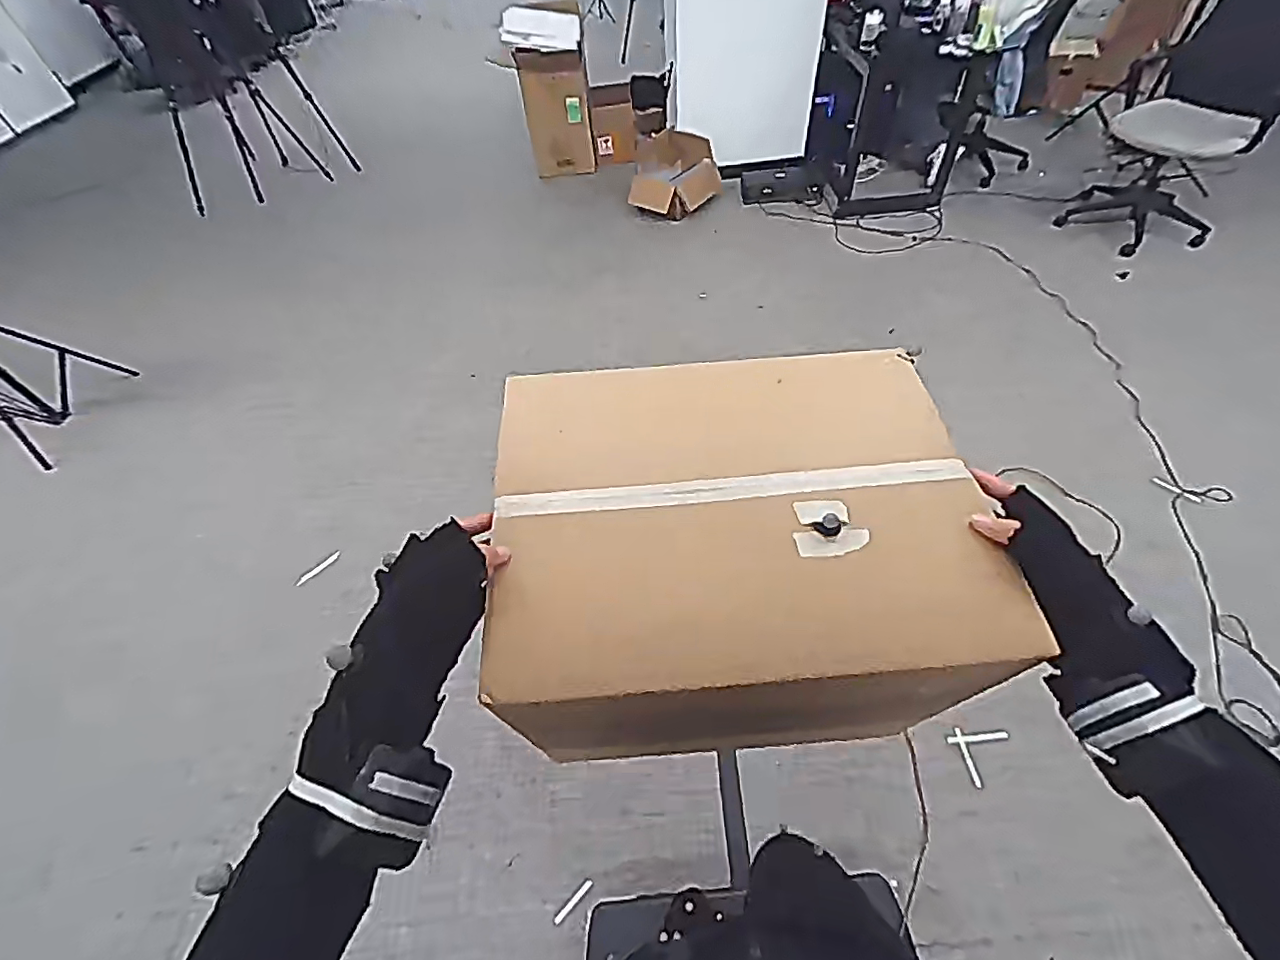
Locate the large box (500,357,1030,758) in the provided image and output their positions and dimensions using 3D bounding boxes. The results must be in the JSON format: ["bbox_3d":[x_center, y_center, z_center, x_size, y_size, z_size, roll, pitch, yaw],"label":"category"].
[{"bbox_3d":[0.082,0.097,0.598,0.408,0.320,0.320,-5,56,-2],"label":"large box"}]
